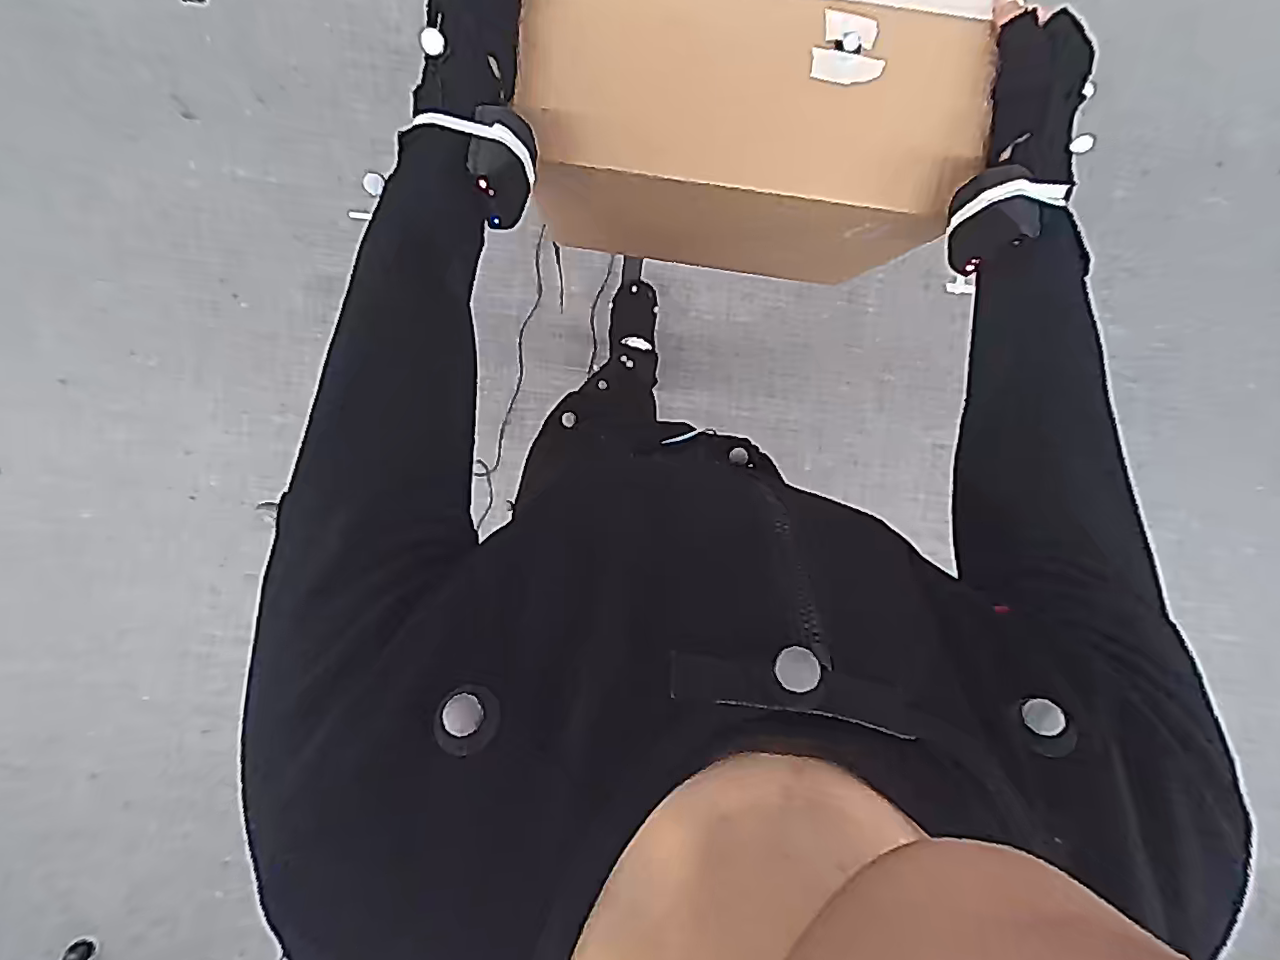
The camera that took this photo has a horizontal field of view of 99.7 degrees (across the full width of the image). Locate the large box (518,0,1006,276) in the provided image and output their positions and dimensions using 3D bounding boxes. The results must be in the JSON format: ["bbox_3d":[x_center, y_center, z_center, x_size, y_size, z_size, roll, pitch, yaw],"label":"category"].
[{"bbox_3d":[0.102,-0.434,0.592,0.408,0.320,0.320,7,101,-3],"label":"large box"}]
